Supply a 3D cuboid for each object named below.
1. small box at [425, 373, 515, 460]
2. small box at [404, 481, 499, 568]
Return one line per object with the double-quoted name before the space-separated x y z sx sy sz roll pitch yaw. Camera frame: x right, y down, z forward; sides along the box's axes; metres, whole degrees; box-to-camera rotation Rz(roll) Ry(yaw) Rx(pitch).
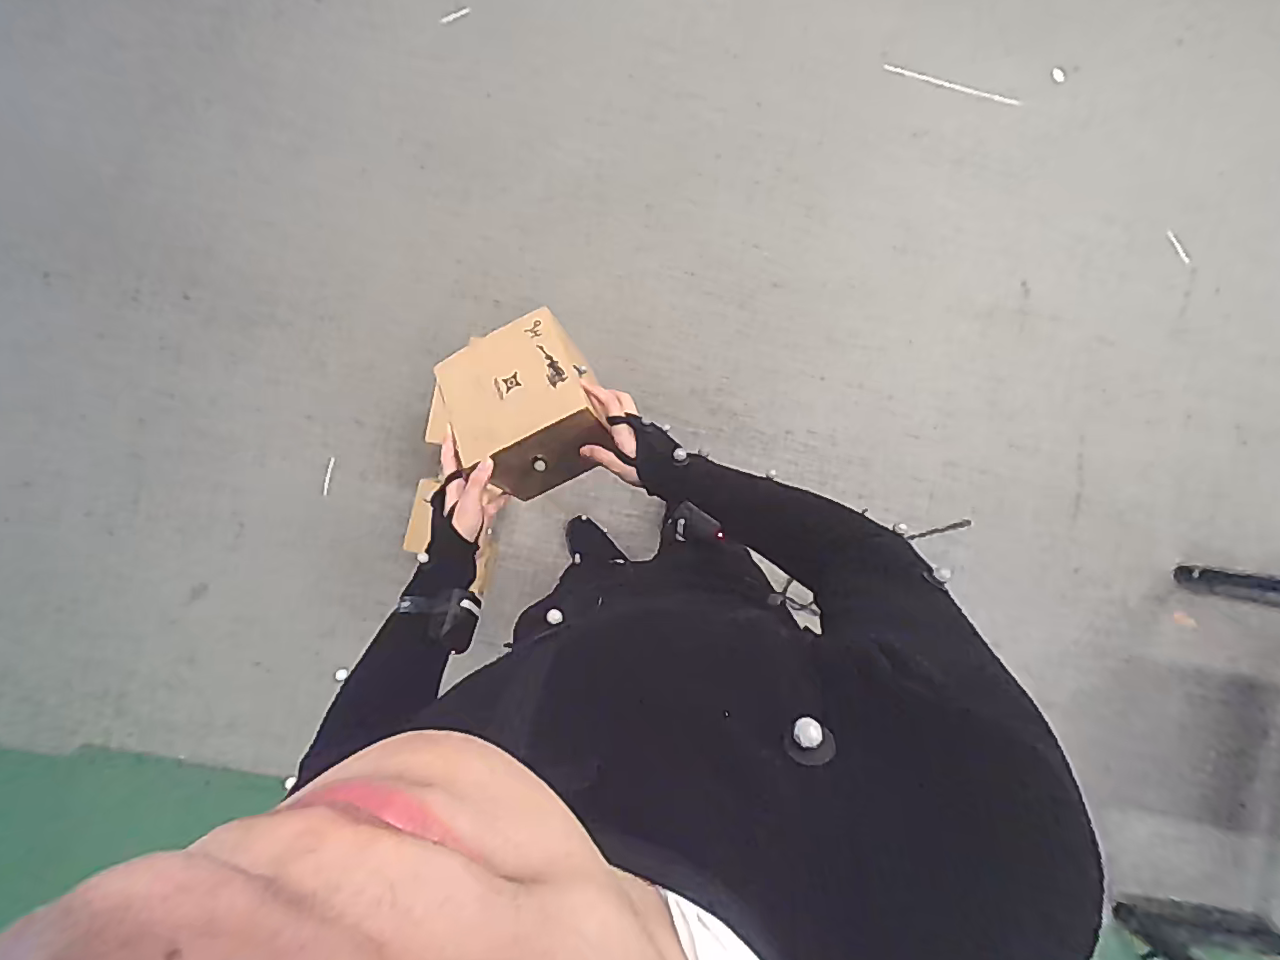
"small box" -0.417 -0.150 1.357 0.168 0.176 0.179 10 86 -5
"small box" -0.460 0.106 1.348 0.168 0.176 0.179 14 89 -4
